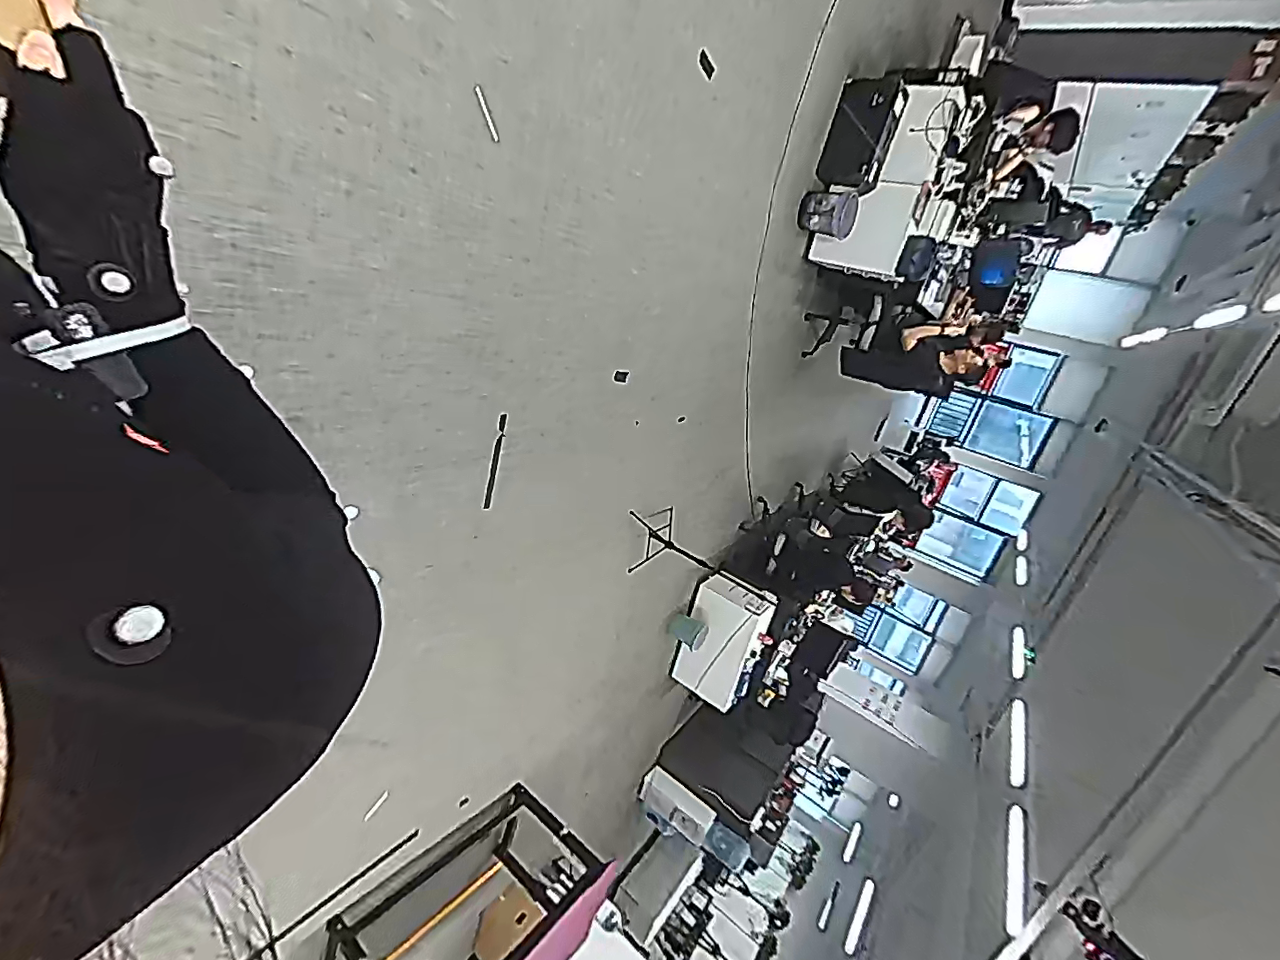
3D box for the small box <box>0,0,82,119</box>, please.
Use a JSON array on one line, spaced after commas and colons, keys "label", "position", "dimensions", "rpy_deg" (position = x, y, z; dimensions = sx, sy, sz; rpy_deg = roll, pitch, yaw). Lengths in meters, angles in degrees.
[{"label": "small box", "position": [-0.424, -0.304, 0.251], "dimensions": [0.168, 0.179, 0.176], "rpy_deg": [-15, 102, -86]}]
